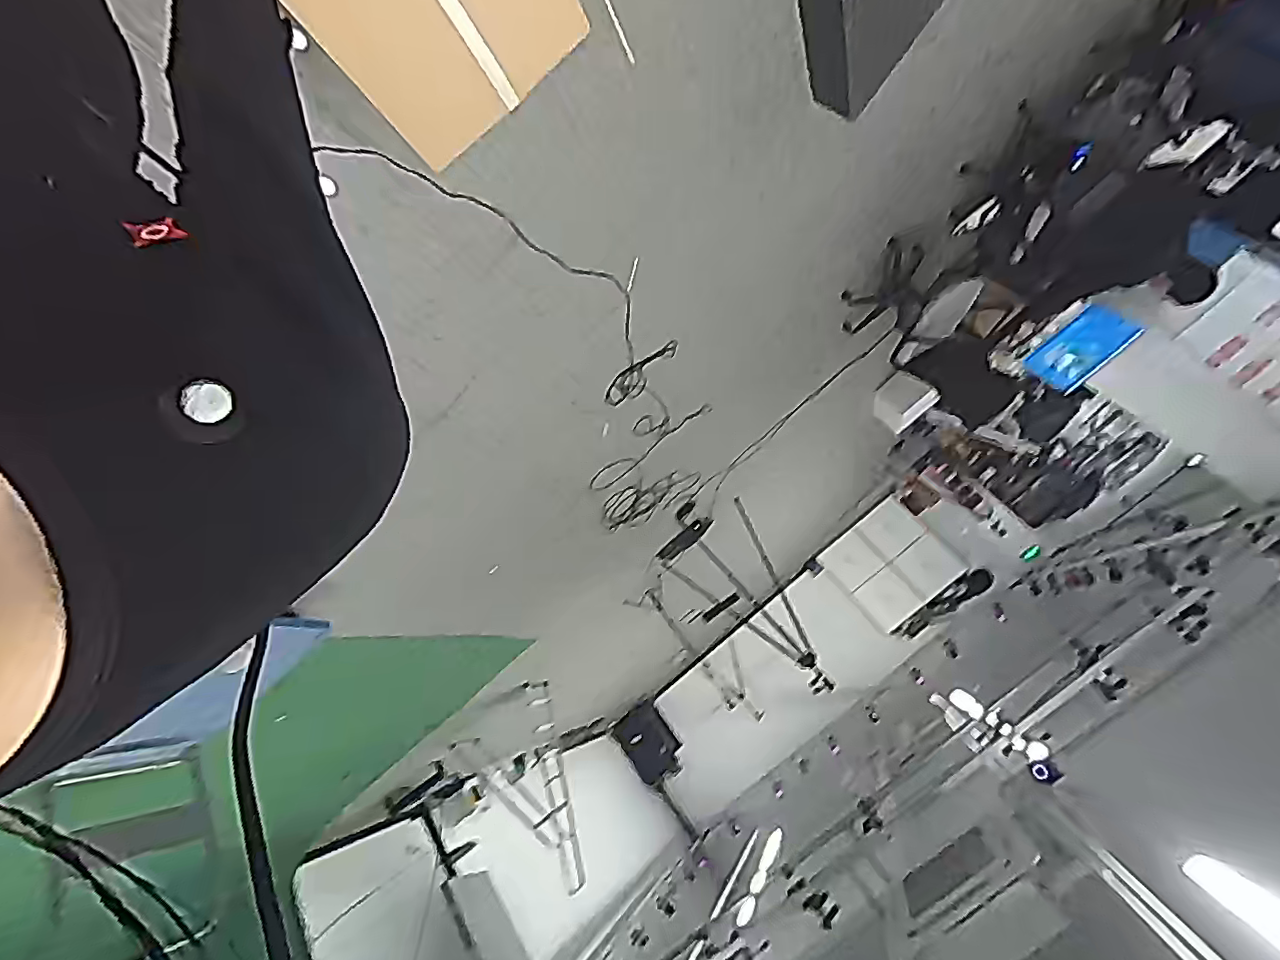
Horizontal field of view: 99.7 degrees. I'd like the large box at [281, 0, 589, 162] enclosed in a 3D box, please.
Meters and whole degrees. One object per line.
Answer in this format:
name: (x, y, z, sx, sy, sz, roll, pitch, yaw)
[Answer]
large box: (-0.334, -0.725, 0.675, 0.320, 0.320, 0.408, -38, 155, 8)
